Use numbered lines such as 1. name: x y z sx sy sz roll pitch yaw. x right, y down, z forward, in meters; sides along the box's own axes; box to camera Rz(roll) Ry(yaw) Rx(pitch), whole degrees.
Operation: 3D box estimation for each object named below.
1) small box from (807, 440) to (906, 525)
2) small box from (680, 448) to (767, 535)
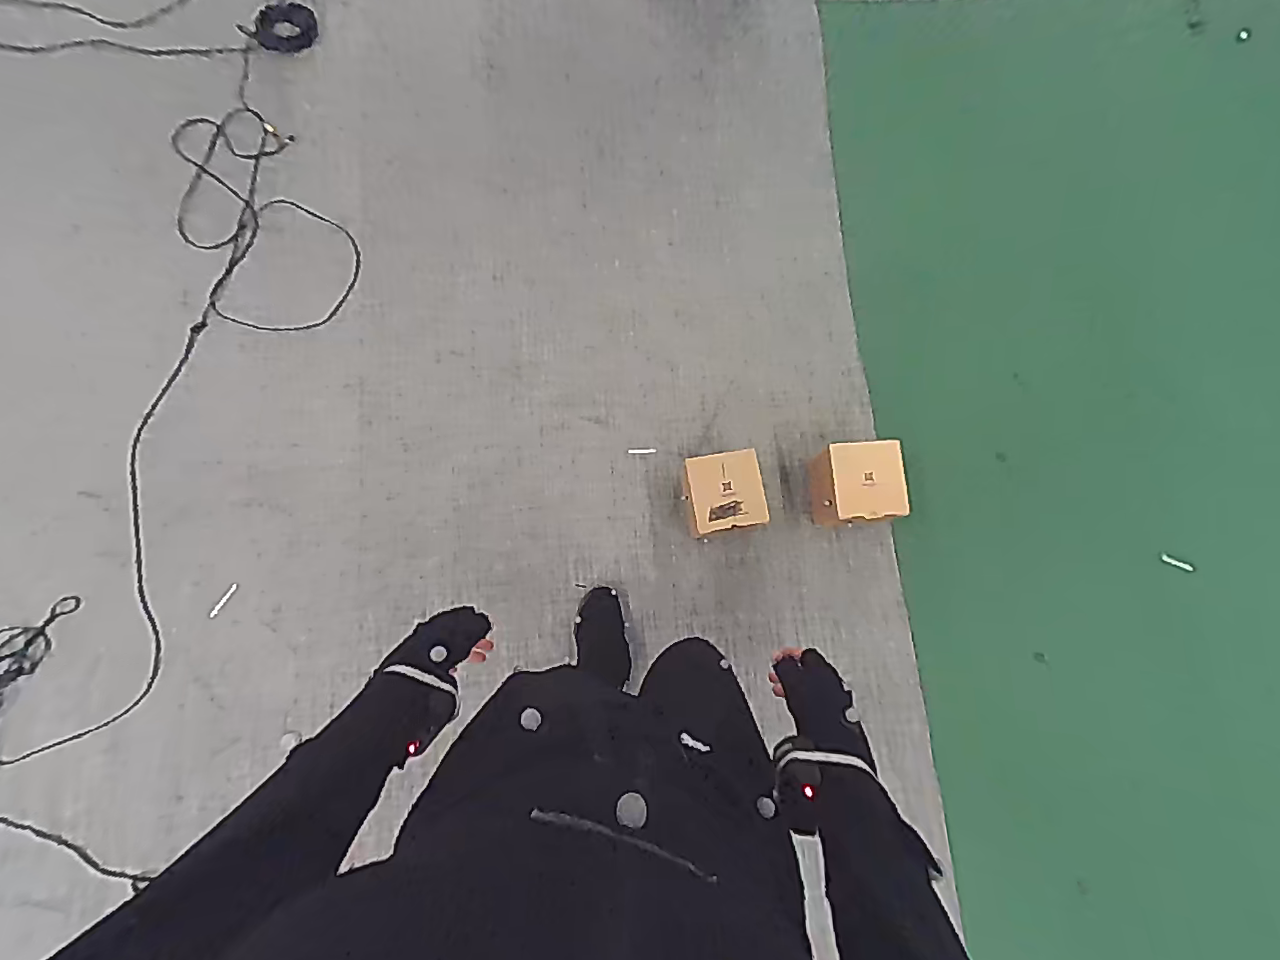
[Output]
1. small box: 0.516 0.010 1.314 0.168 0.176 0.179 -4 80 -1
2. small box: 0.194 0.035 1.304 0.168 0.176 0.179 -9 79 -3
